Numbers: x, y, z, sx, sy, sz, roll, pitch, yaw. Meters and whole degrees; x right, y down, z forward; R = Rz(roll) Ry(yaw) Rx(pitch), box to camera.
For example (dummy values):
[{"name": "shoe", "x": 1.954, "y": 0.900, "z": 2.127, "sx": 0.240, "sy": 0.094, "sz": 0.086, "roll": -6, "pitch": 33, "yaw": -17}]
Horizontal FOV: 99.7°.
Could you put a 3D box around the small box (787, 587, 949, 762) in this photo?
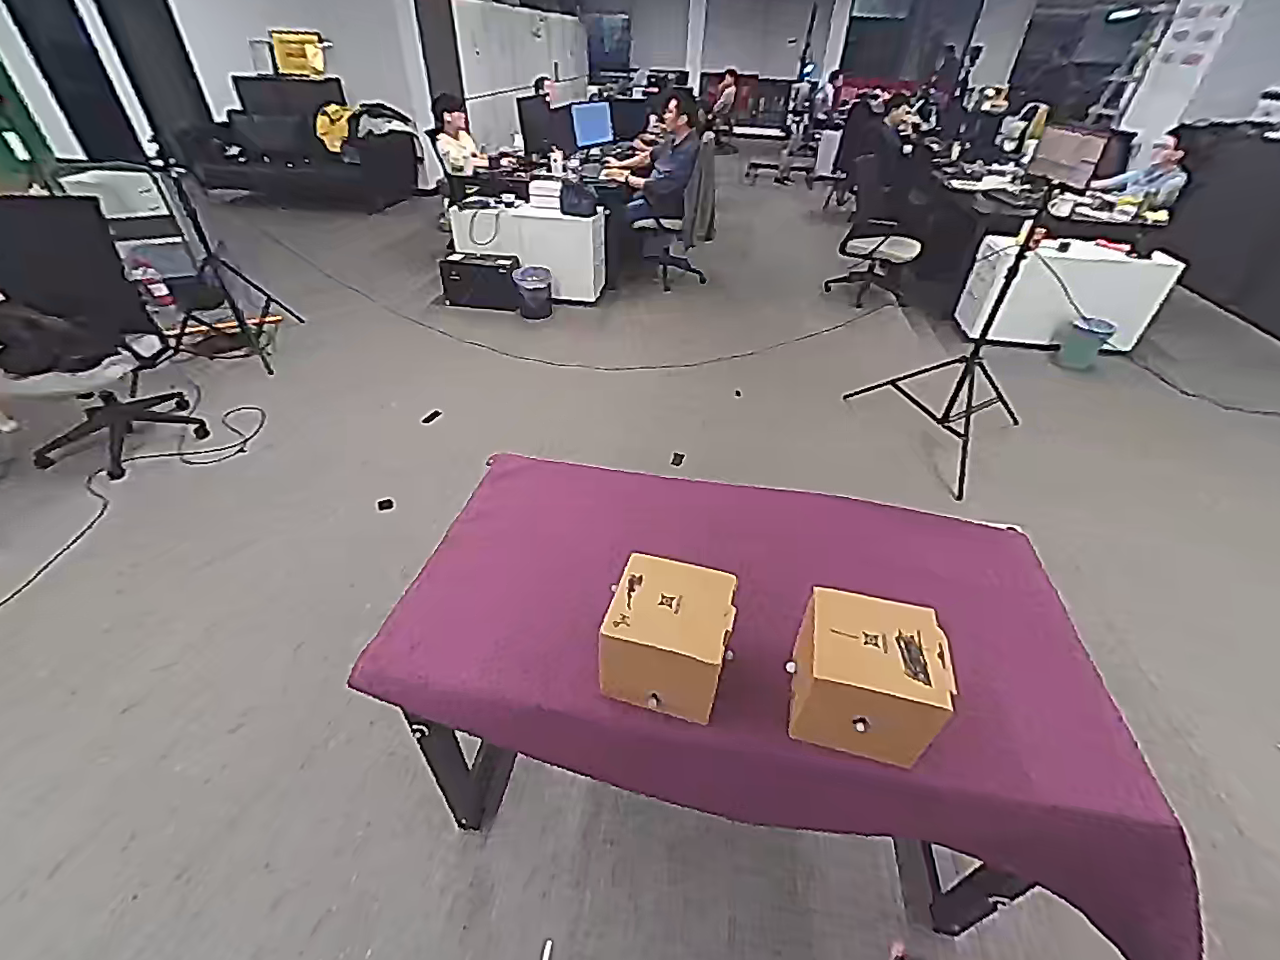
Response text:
[{"name": "small box", "x": 0.329, "y": 0.292, "z": 0.811, "sx": 0.179, "sy": 0.176, "sz": 0.168, "roll": 10, "pitch": 38, "yaw": 11}]

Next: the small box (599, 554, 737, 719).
[{"name": "small box", "x": 0.044, "y": 0.248, "z": 0.854, "sx": 0.179, "sy": 0.176, "sz": 0.168, "roll": 12, "pitch": 39, "yaw": 11}]
